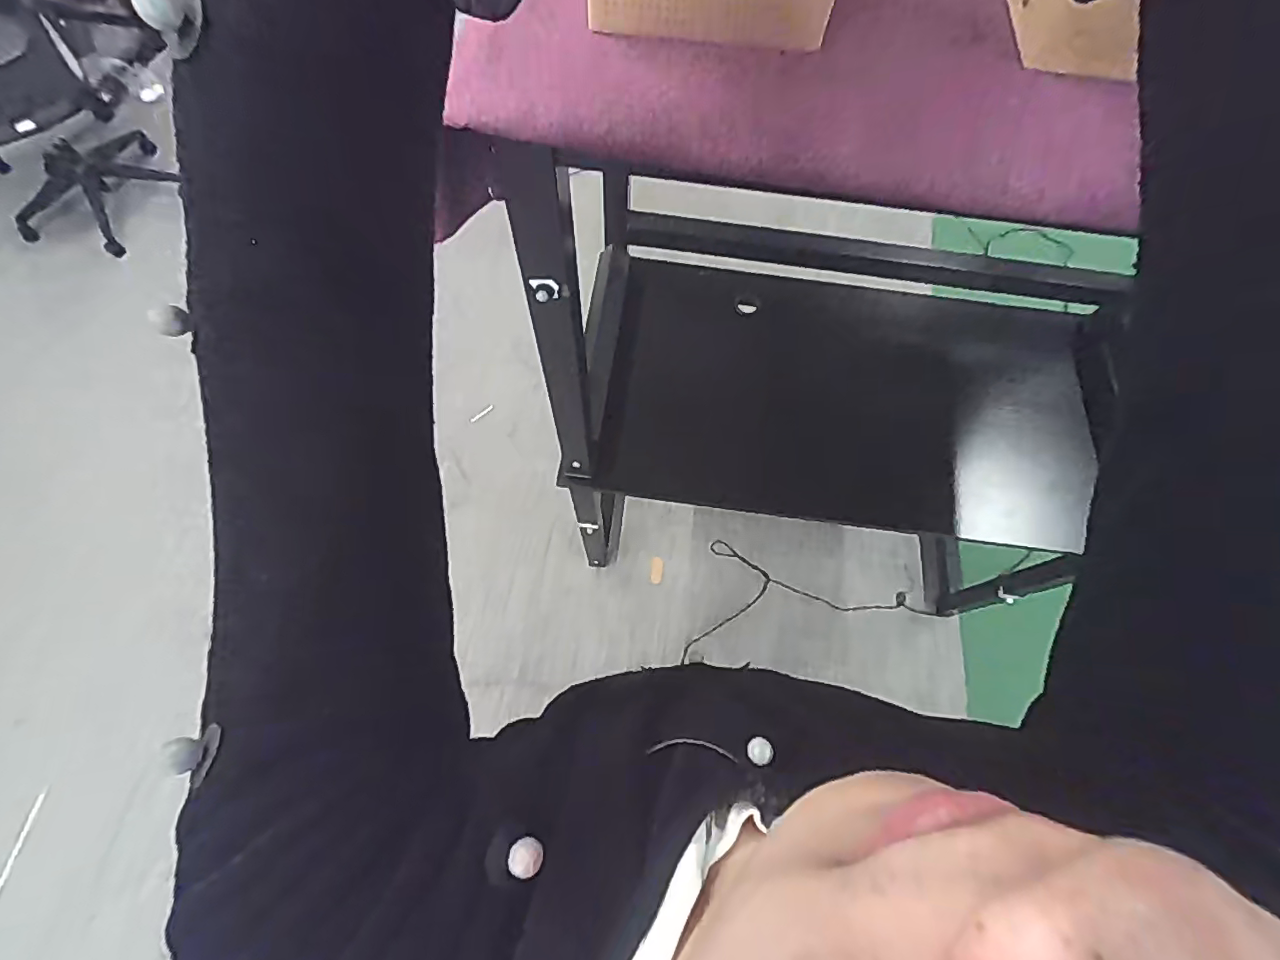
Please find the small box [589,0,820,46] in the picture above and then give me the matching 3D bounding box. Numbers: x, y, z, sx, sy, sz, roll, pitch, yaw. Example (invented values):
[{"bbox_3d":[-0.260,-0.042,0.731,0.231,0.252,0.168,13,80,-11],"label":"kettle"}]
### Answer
[{"bbox_3d":[0.054,-0.435,0.365,0.179,0.176,0.168,5,66,-1],"label":"small box"}]
